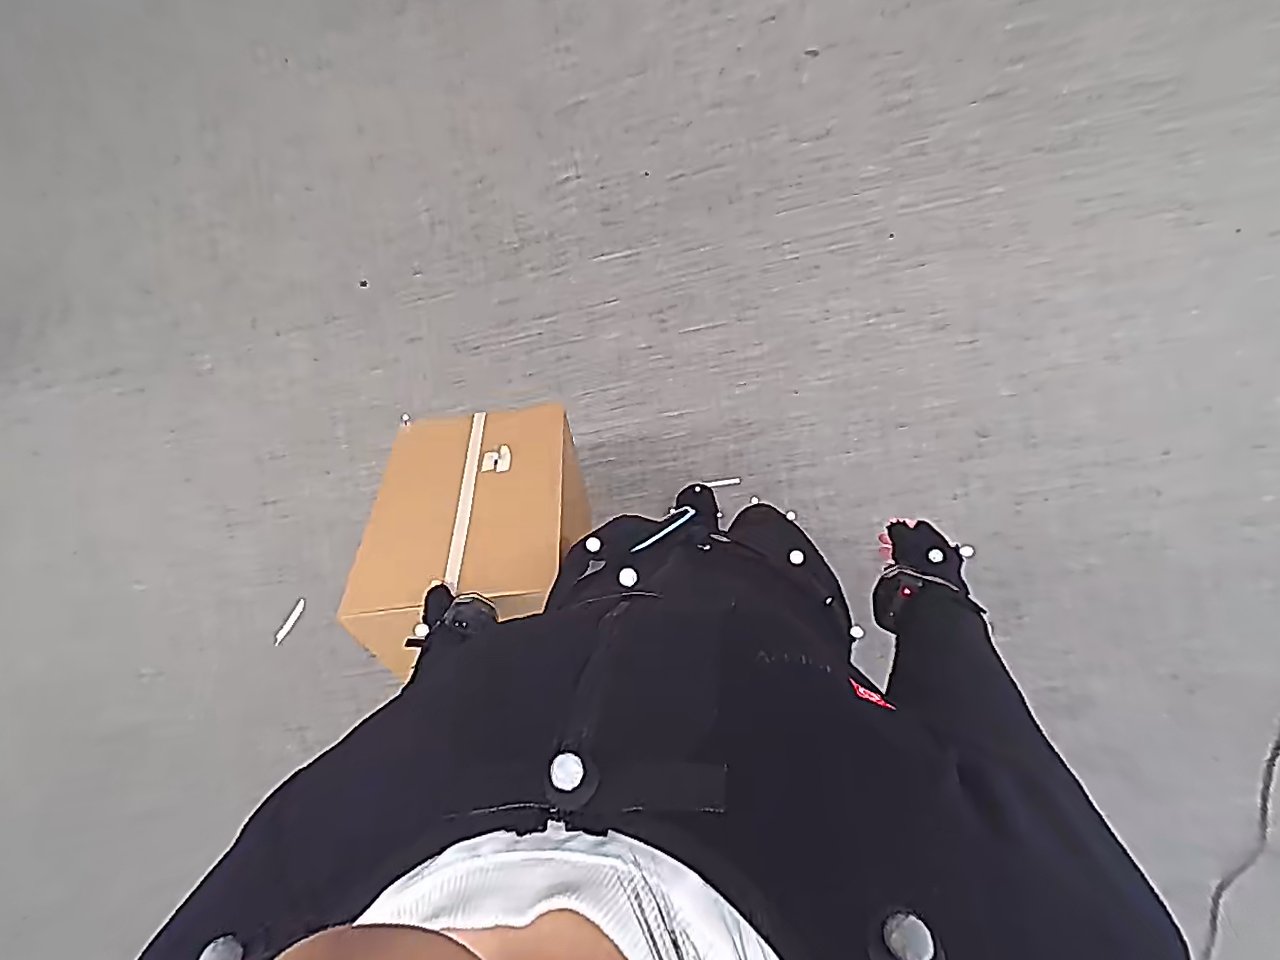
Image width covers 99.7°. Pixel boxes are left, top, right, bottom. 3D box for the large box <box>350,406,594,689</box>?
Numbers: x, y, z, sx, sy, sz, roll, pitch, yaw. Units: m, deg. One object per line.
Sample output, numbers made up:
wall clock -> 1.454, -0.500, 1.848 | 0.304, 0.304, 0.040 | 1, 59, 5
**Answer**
large box -> -0.266, 0.122, 1.007 | 0.320, 0.320, 0.408 | -6, 48, 1
